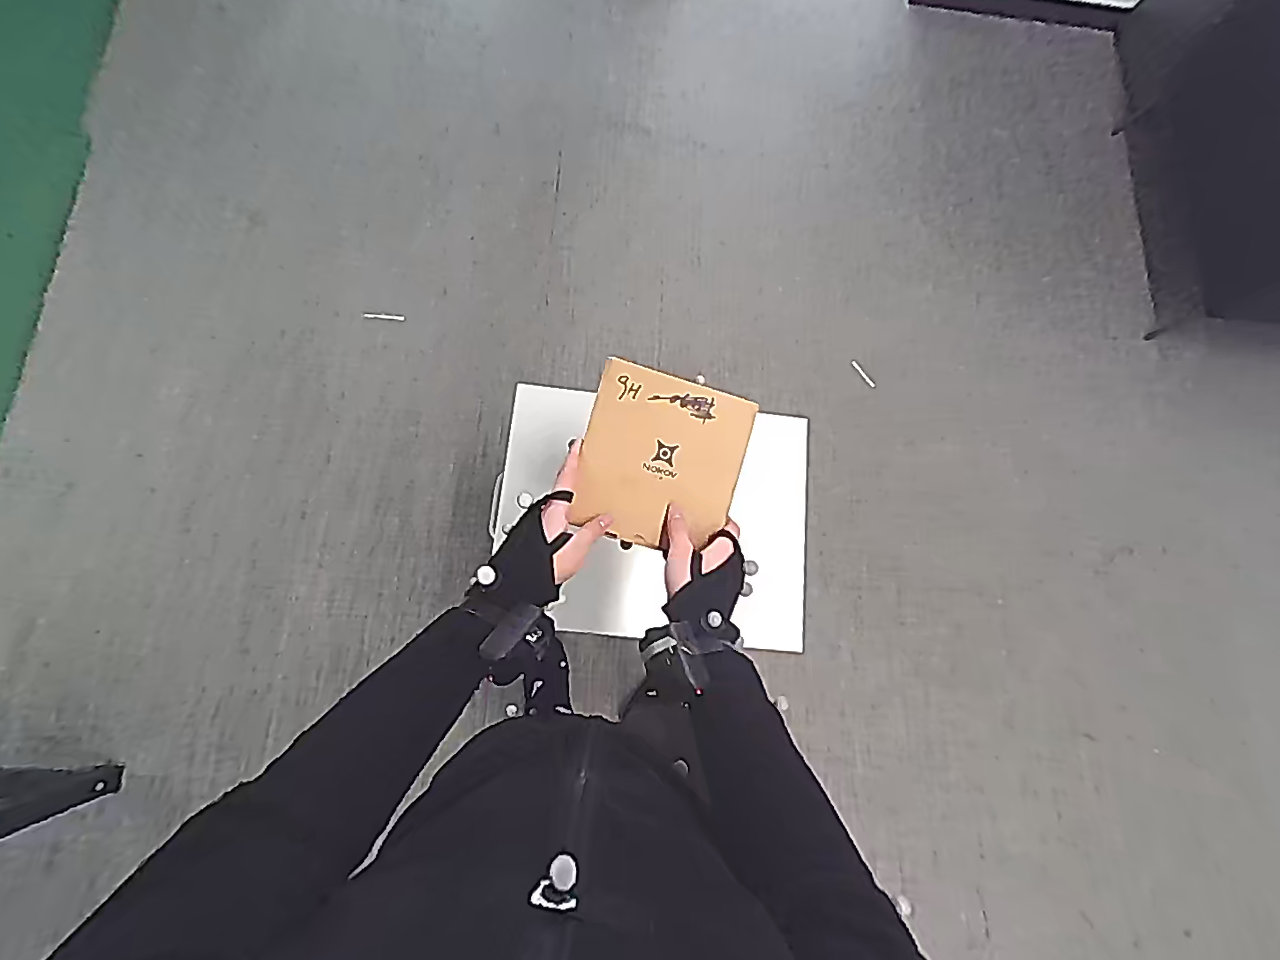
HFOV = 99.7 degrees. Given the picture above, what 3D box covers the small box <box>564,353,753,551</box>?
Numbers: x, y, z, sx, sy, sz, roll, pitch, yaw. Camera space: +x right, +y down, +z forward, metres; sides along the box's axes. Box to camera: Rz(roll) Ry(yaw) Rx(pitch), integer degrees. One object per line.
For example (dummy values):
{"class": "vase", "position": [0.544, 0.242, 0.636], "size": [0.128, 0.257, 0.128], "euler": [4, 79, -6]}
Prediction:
{"class": "small box", "position": [0.014, -0.027, 0.643], "size": [0.168, 0.176, 0.179], "euler": [15, 87, -5]}
